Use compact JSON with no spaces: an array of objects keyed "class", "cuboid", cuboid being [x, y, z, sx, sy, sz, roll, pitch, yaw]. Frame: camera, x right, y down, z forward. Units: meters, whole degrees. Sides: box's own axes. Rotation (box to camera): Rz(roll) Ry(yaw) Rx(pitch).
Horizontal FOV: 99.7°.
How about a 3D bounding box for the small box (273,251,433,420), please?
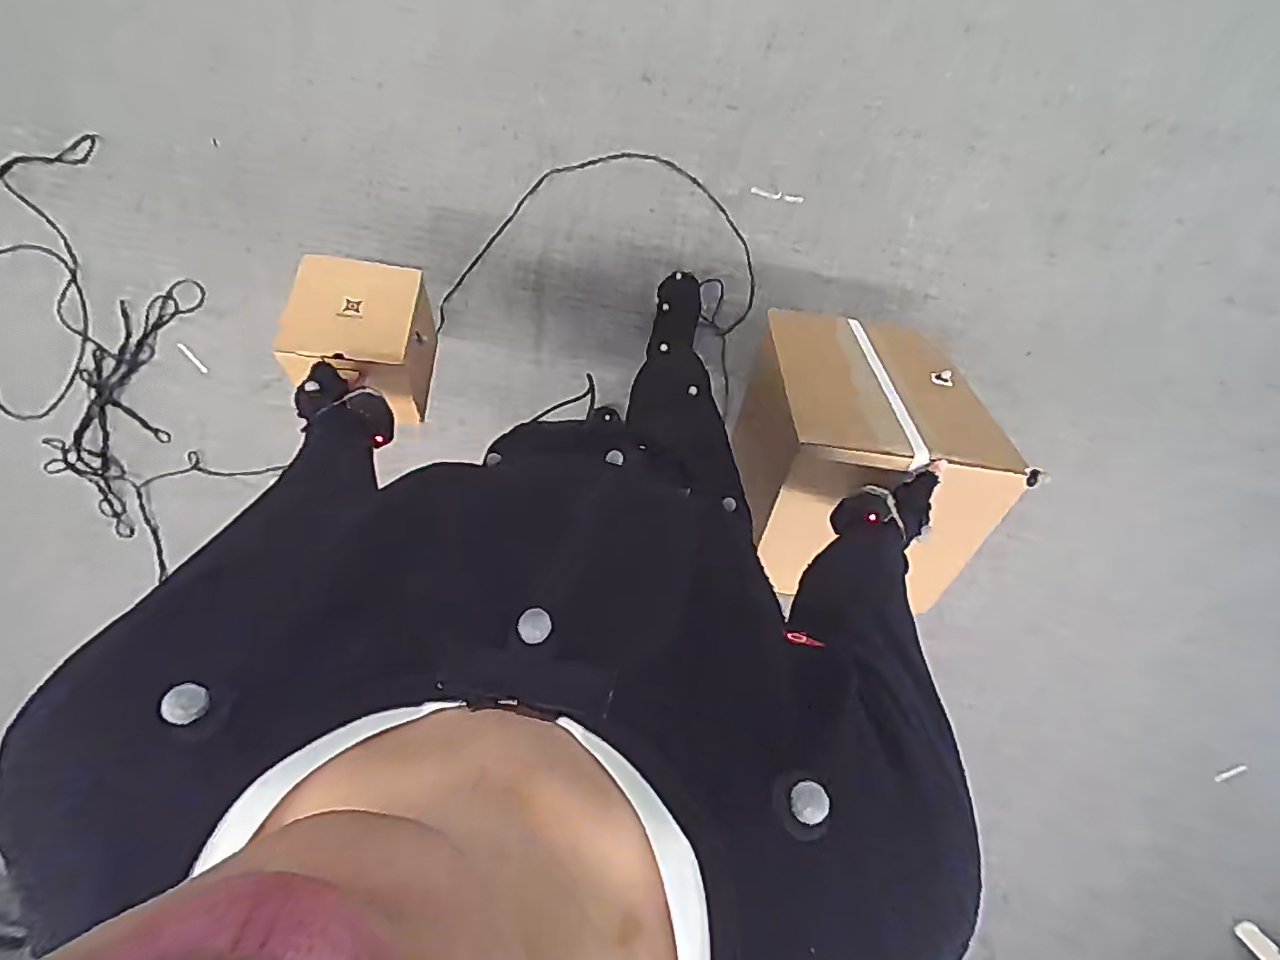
[{"class":"small box","cuboid":[-0.425,-0.215,0.836,0.168,0.176,0.179,4,67,-11]}]
